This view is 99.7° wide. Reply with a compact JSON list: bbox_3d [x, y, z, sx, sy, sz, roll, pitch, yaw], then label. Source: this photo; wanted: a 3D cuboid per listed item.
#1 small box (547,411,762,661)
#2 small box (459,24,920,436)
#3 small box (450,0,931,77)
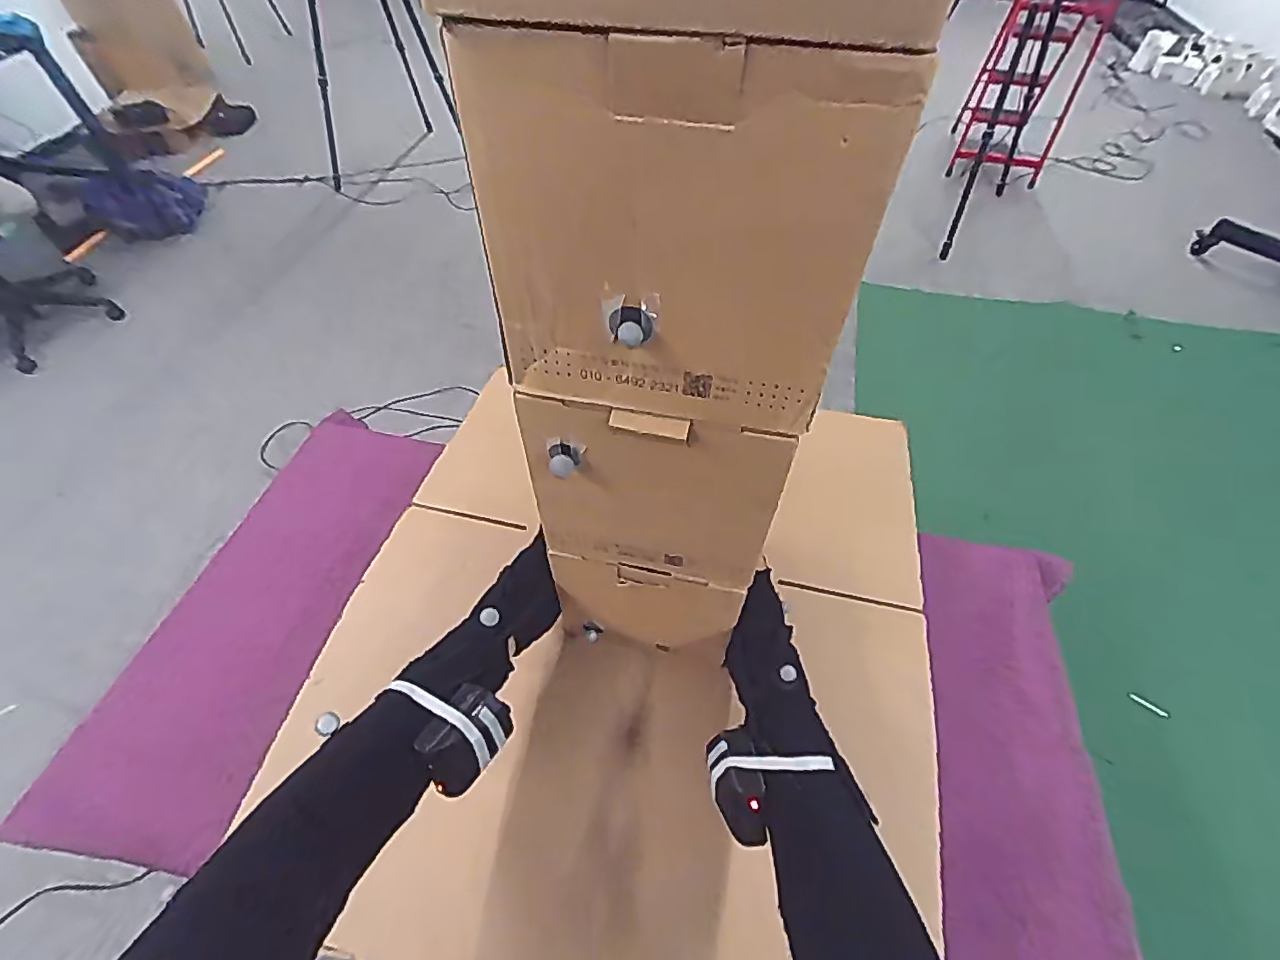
[{"bbox_3d":[0.021,0.060,0.548,0.168,0.176,0.179,11,51,8],"label":"small box"},{"bbox_3d":[0.026,-0.152,0.299,0.168,0.176,0.179,9,51,6],"label":"small box"},{"bbox_3d":[0.025,-0.257,0.171,0.168,0.176,0.179,9,51,6],"label":"small box"}]
